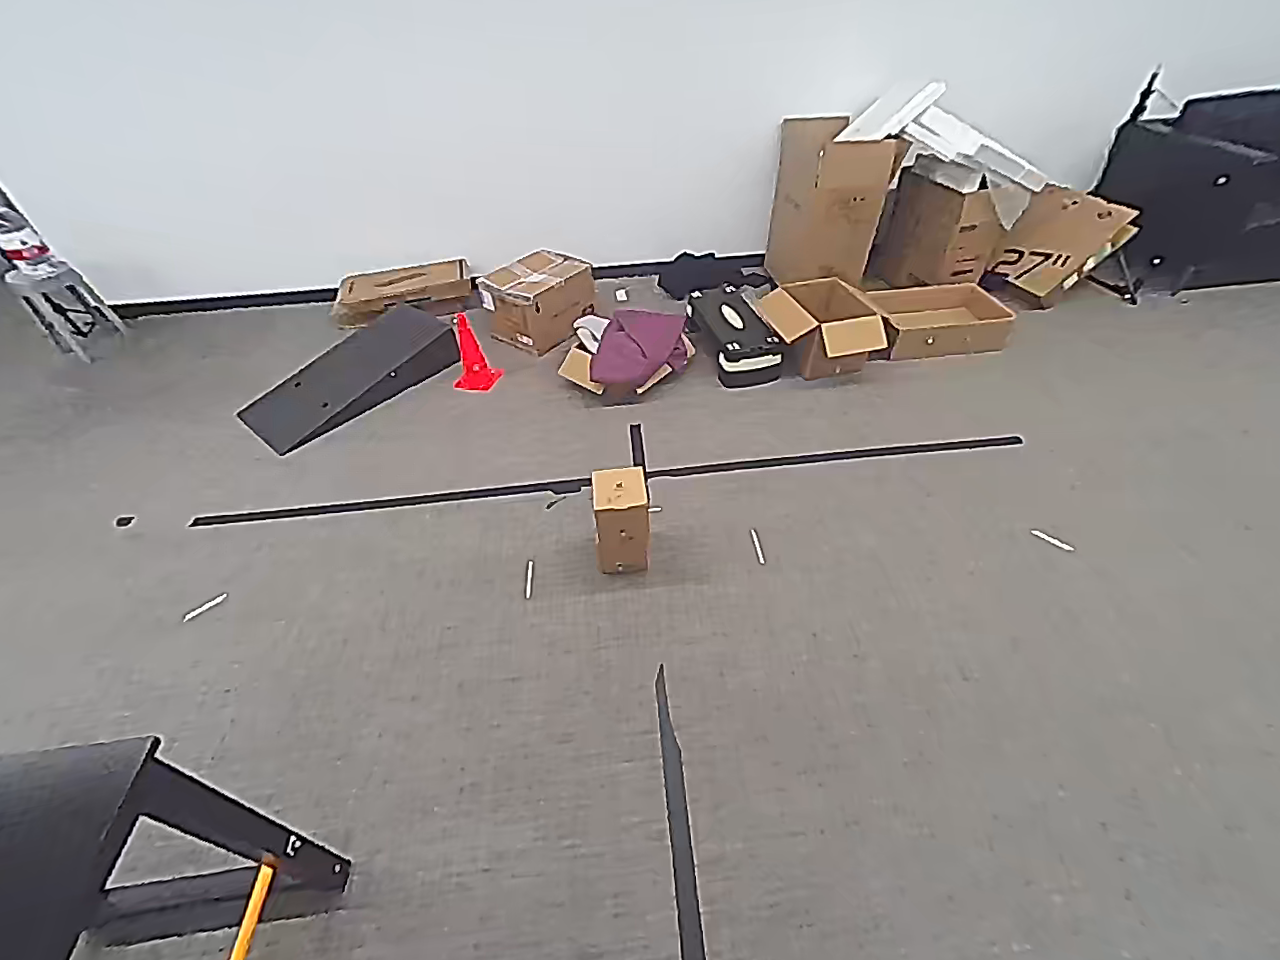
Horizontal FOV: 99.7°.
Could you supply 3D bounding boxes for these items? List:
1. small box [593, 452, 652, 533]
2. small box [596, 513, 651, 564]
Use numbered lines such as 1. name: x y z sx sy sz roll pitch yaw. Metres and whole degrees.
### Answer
1. small box: -0.055 0.038 1.655 0.168 0.176 0.179 -7 44 -2
2. small box: -0.057 0.152 1.776 0.168 0.176 0.179 -7 45 -3
